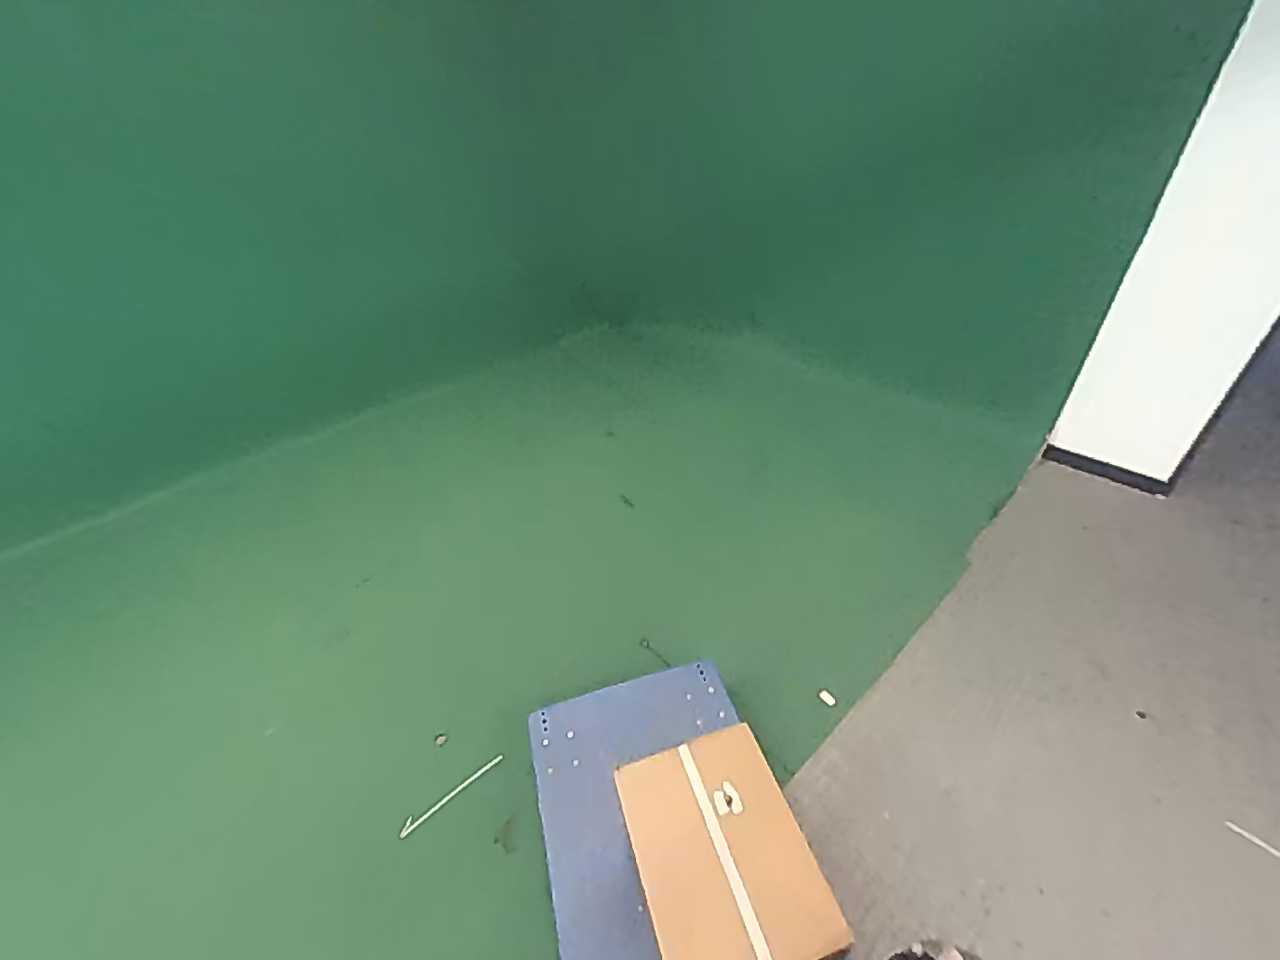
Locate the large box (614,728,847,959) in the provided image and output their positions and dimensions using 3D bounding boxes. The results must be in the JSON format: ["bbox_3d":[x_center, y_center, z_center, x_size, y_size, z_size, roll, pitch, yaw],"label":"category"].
[{"bbox_3d":[0.161,0.819,1.119,0.320,0.320,0.408,-13,38,-12],"label":"large box"}]
